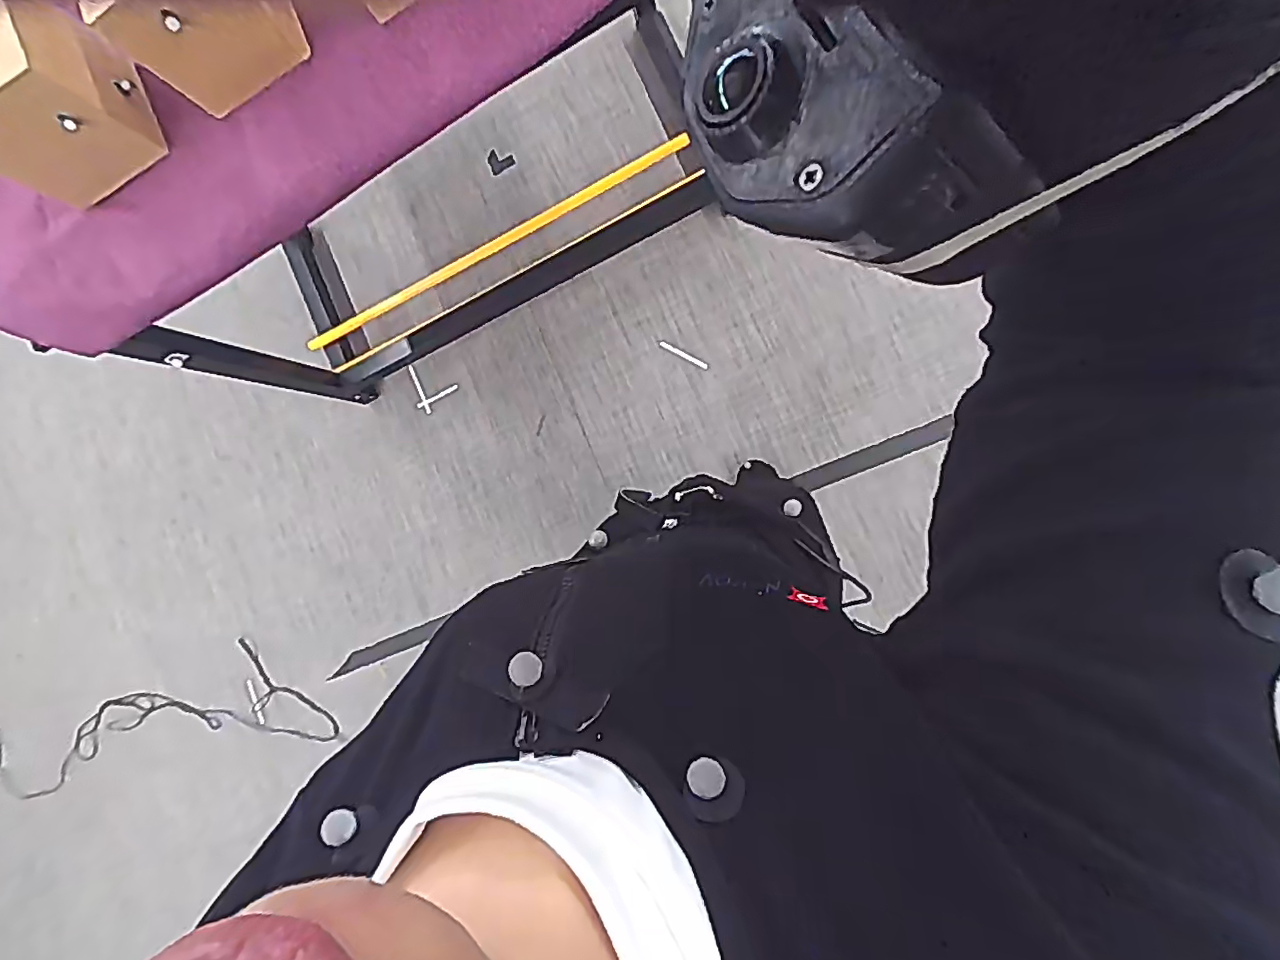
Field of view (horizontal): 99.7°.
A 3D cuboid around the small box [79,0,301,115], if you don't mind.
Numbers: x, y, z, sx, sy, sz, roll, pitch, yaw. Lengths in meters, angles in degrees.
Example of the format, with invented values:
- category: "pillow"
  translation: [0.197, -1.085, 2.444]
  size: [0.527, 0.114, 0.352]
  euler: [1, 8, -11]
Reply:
- category: "small box"
  translation: [-0.578, -0.631, 0.698]
  size: [0.179, 0.176, 0.168]
  euler: [-24, 85, 11]
